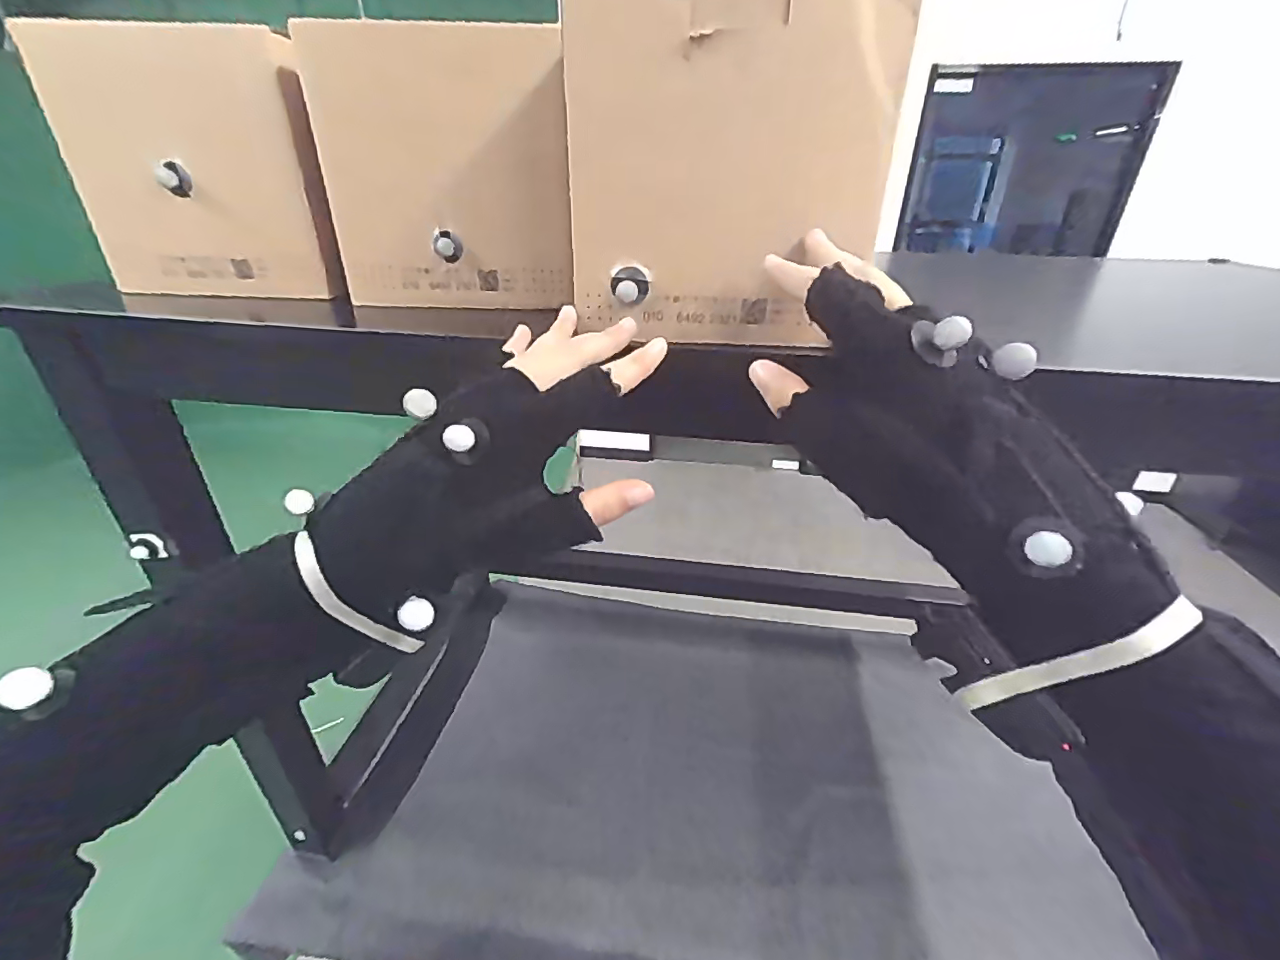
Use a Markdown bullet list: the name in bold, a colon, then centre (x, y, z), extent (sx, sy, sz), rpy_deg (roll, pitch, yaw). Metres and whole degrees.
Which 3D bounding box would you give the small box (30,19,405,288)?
- **small box**: centre (-0.322, -0.265, 0.465), extent (0.168, 0.176, 0.179), rpy_deg (3, 27, 0)

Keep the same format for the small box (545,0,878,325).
- **small box**: centre (0.041, -0.206, 0.365), extent (0.168, 0.176, 0.179), rpy_deg (3, 28, 3)
